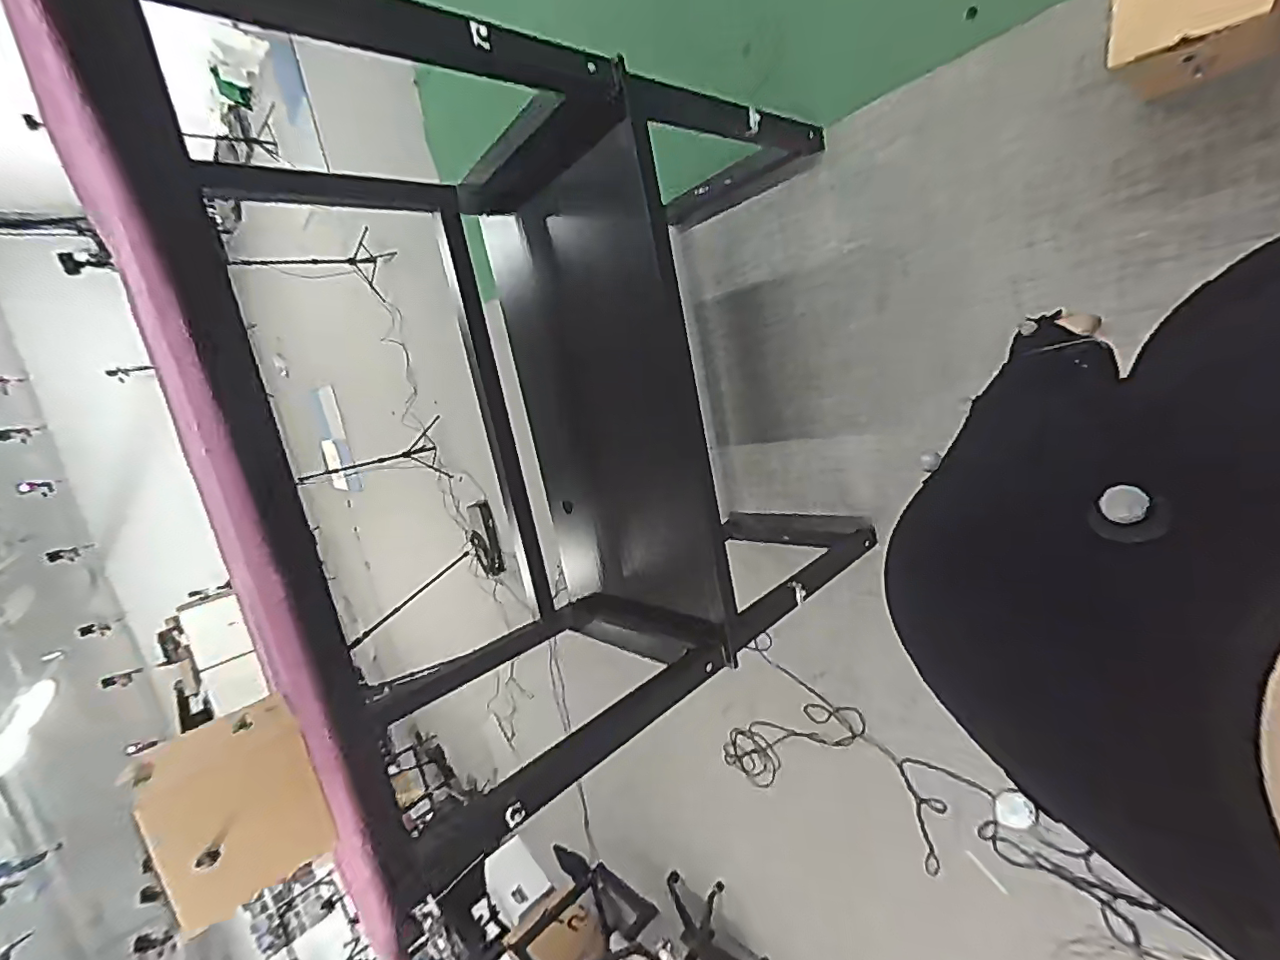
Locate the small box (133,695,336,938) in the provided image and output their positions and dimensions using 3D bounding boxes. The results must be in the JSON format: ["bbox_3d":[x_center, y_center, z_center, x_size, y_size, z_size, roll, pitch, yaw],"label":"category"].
[{"bbox_3d":[-0.525,0.421,0.712,0.168,0.176,0.179,-2,104,48],"label":"small box"}]

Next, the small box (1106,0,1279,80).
[{"bbox_3d":[0.797,-0.706,0.773,0.168,0.176,0.179,10,113,47],"label":"small box"}]
